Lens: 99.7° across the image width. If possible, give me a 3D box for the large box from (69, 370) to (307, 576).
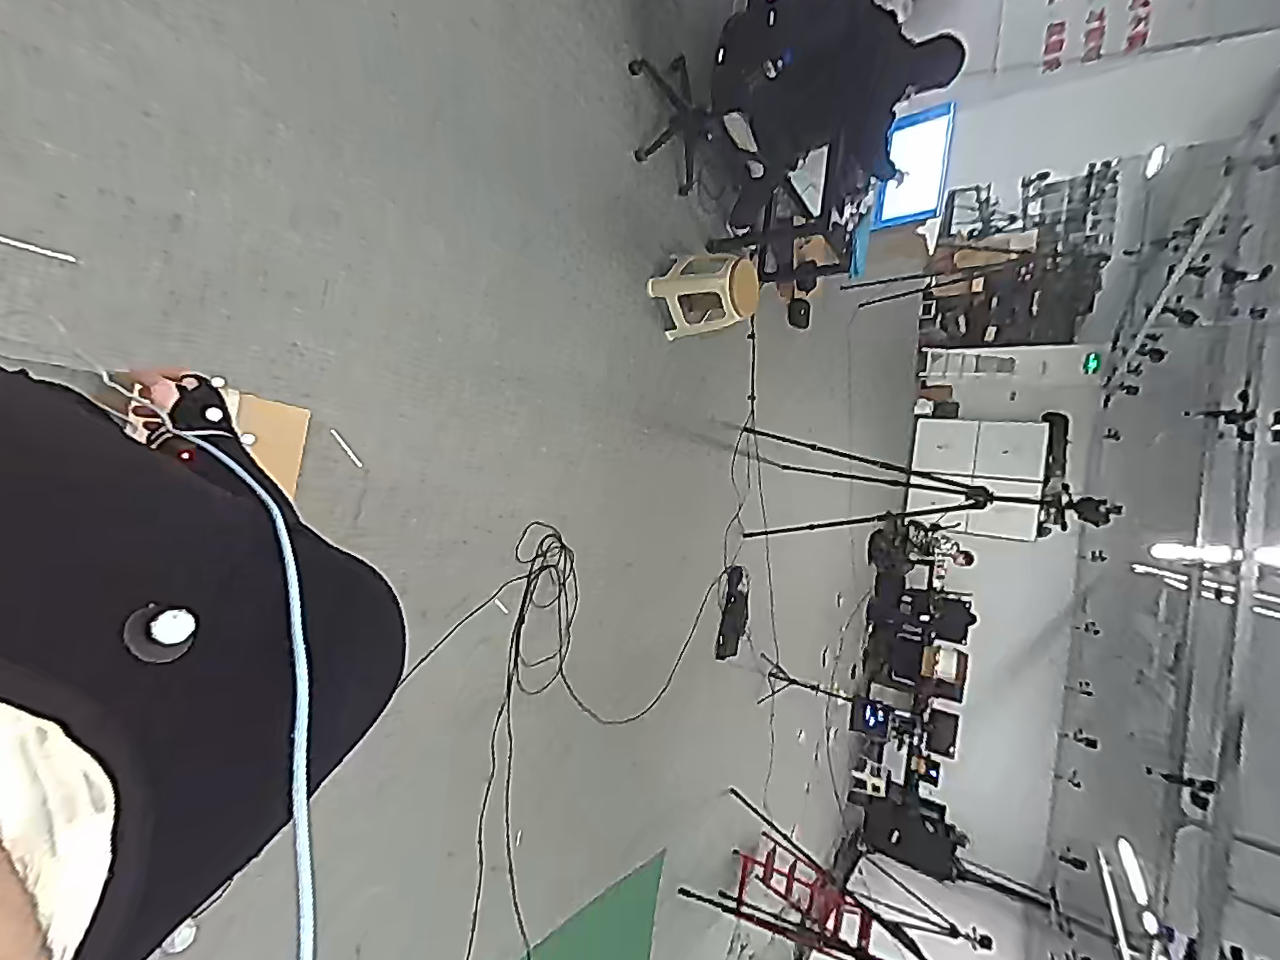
[{"bbox_3d":[-1.021,-0.017,1.231,0.320,0.320,0.408,12,87,-54],"label":"large box"}]
